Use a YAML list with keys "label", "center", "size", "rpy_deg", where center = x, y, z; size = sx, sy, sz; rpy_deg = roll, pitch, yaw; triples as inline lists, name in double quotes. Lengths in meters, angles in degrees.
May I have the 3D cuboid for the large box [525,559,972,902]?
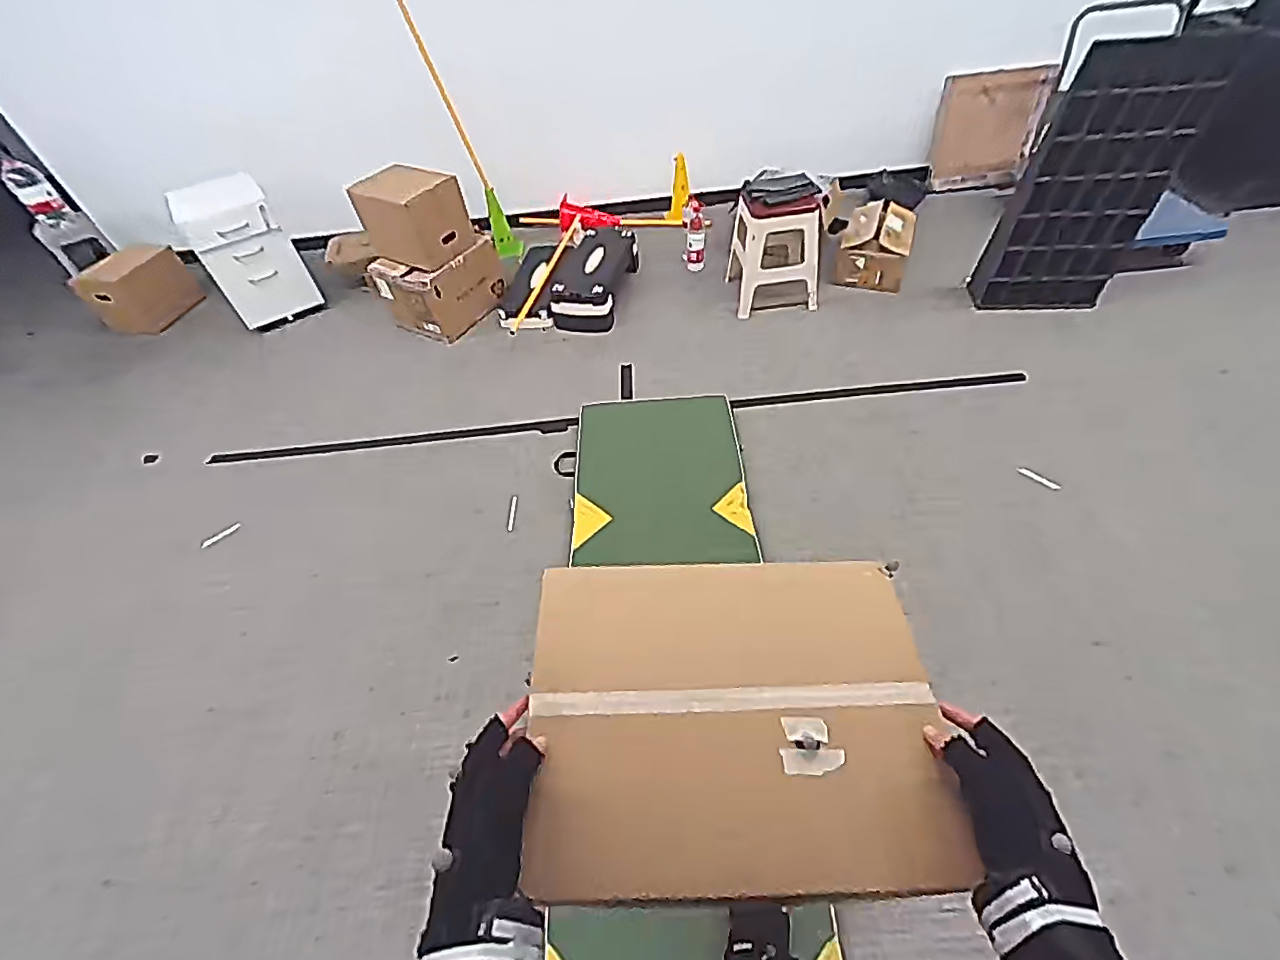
- label: "large box"
  center: [0.089, 0.316, 0.676]
  size: [0.408, 0.320, 0.320]
  rpy_deg: [-1, 51, -2]
